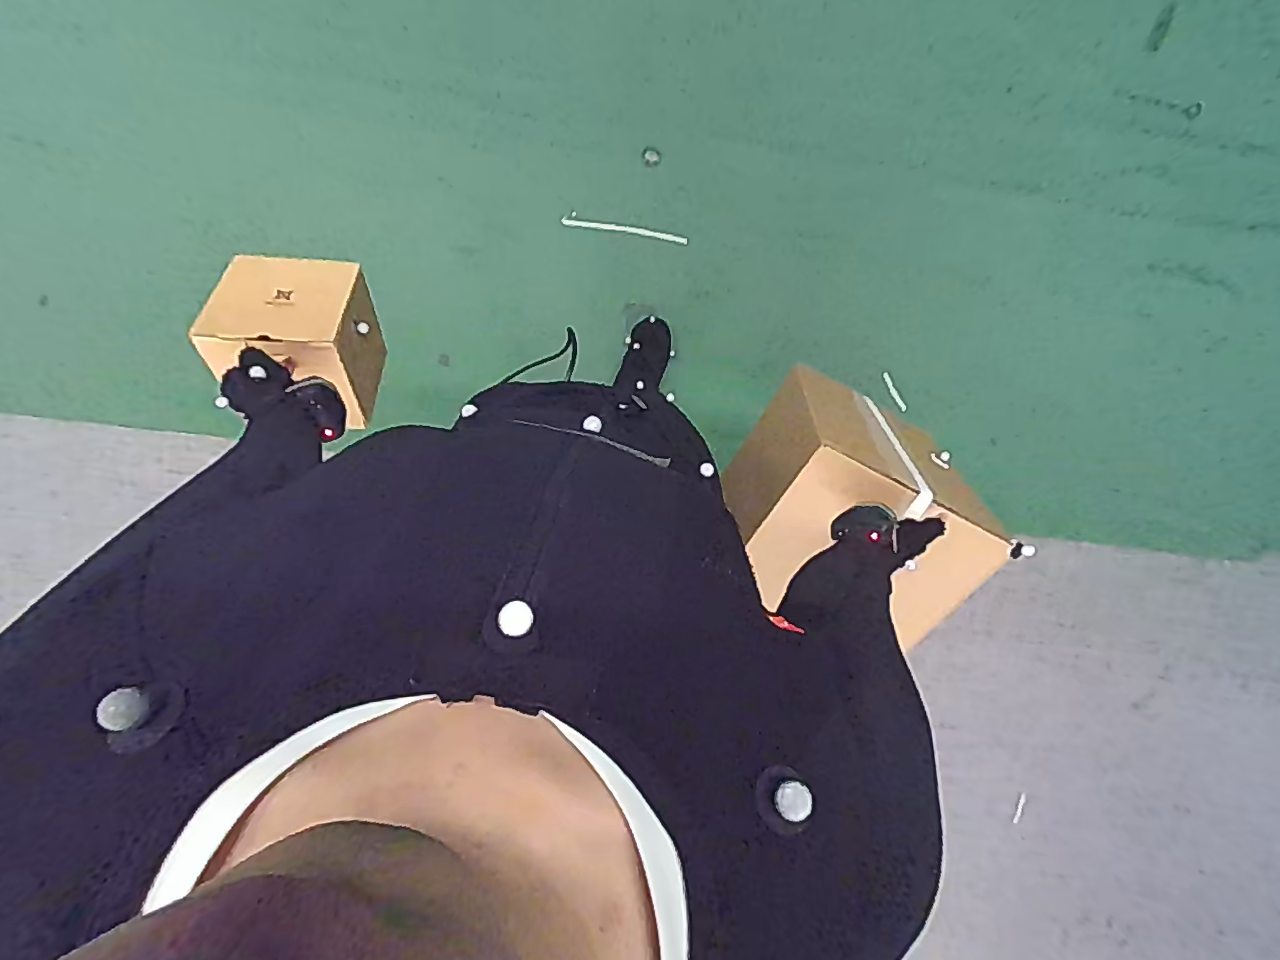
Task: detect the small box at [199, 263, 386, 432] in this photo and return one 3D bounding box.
[{"bbox_3d":[-0.488,-0.192,0.796,0.168,0.179,0.176,-1,144,-9],"label":"small box"}]
